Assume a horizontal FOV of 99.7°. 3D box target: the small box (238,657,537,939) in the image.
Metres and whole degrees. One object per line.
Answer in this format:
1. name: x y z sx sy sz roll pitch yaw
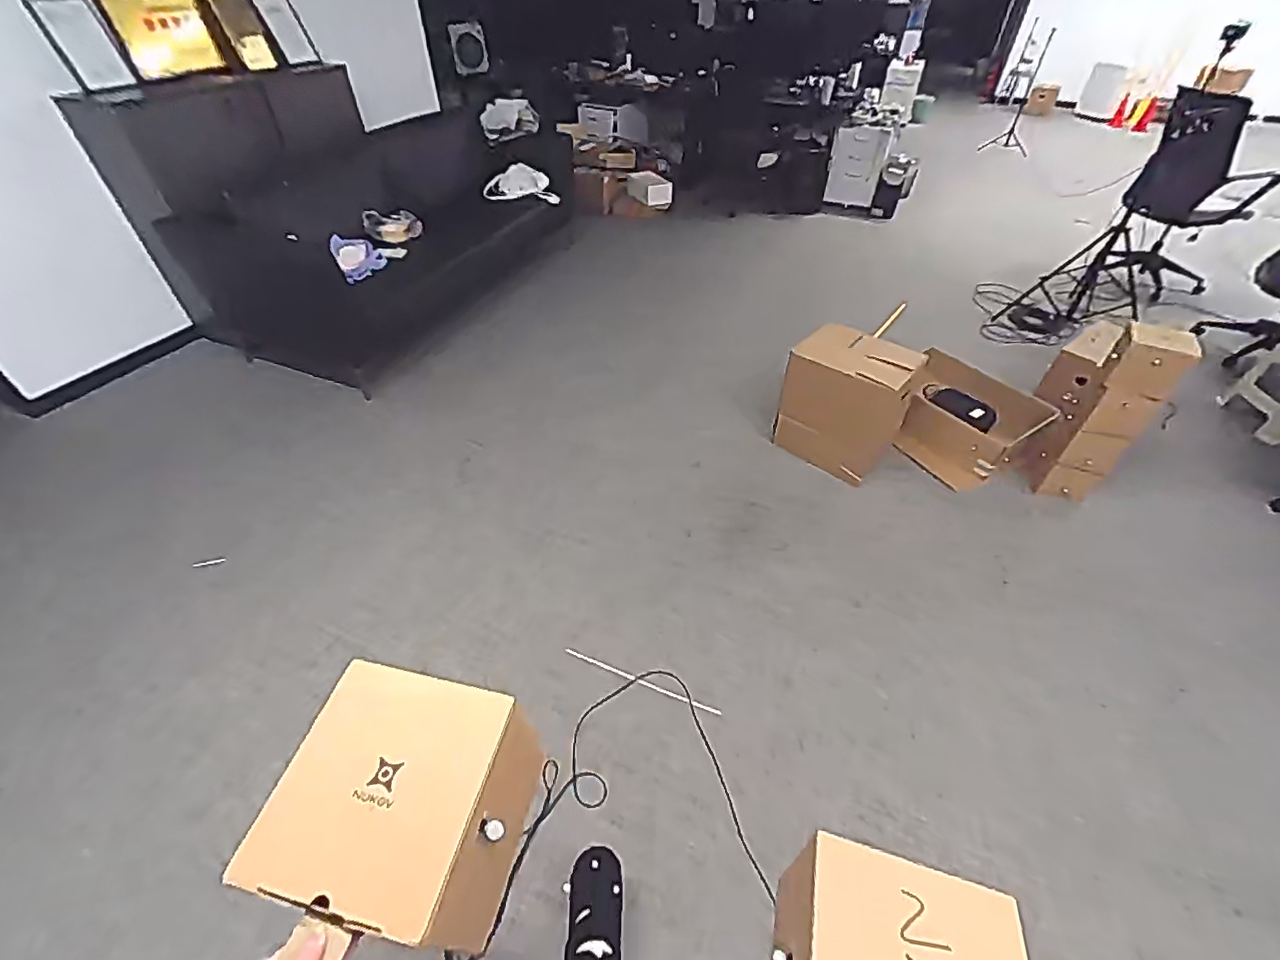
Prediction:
1. small box: -0.207 0.298 0.509 0.168 0.176 0.179 9 50 10
